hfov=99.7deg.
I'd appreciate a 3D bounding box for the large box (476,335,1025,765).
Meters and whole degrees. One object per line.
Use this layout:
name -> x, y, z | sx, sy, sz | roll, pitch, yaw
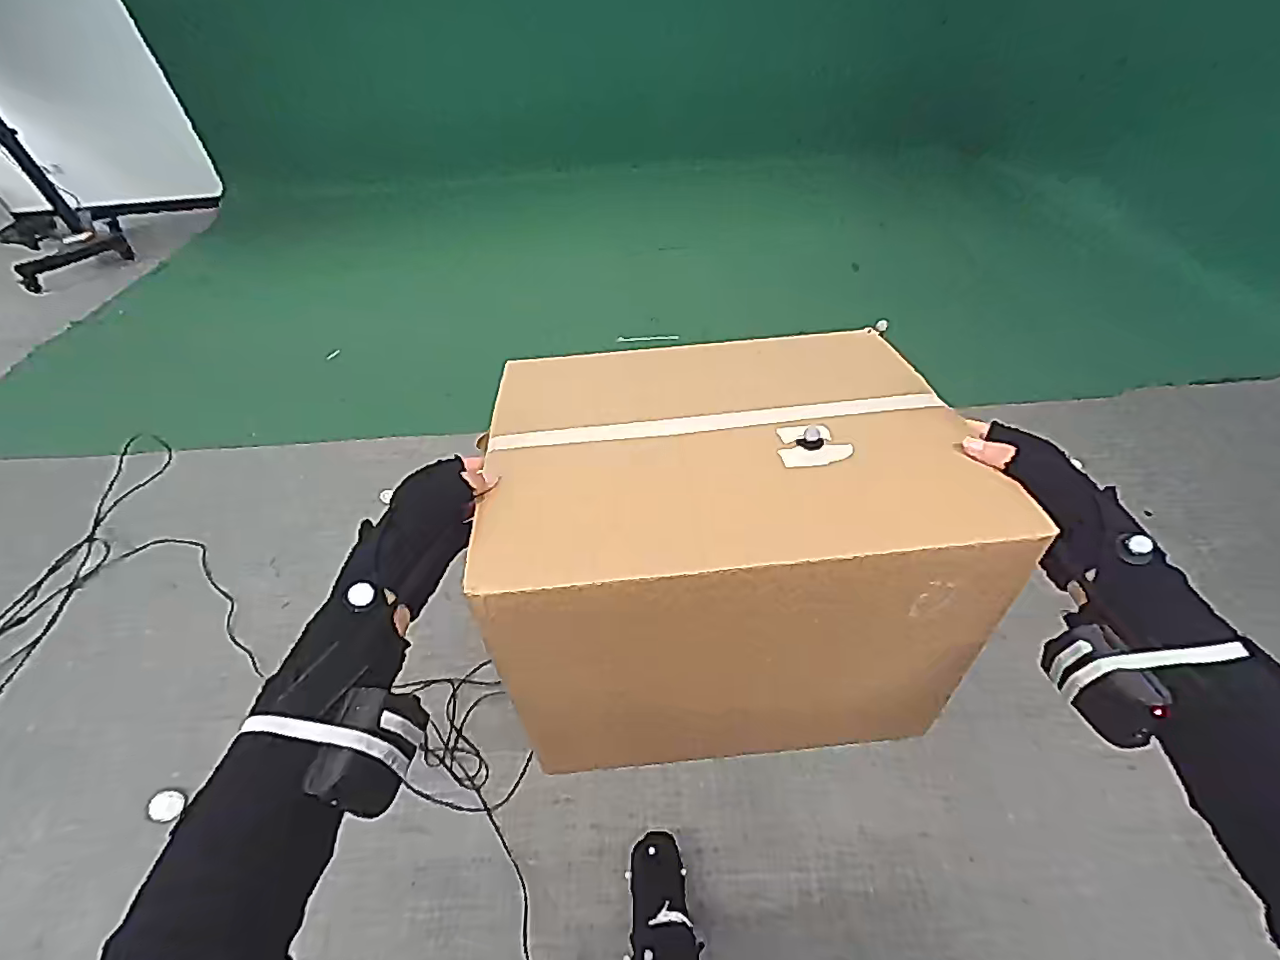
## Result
large box -> 0.074, 0.068, 0.586 | 0.408, 0.320, 0.320 | -6, 42, -2
